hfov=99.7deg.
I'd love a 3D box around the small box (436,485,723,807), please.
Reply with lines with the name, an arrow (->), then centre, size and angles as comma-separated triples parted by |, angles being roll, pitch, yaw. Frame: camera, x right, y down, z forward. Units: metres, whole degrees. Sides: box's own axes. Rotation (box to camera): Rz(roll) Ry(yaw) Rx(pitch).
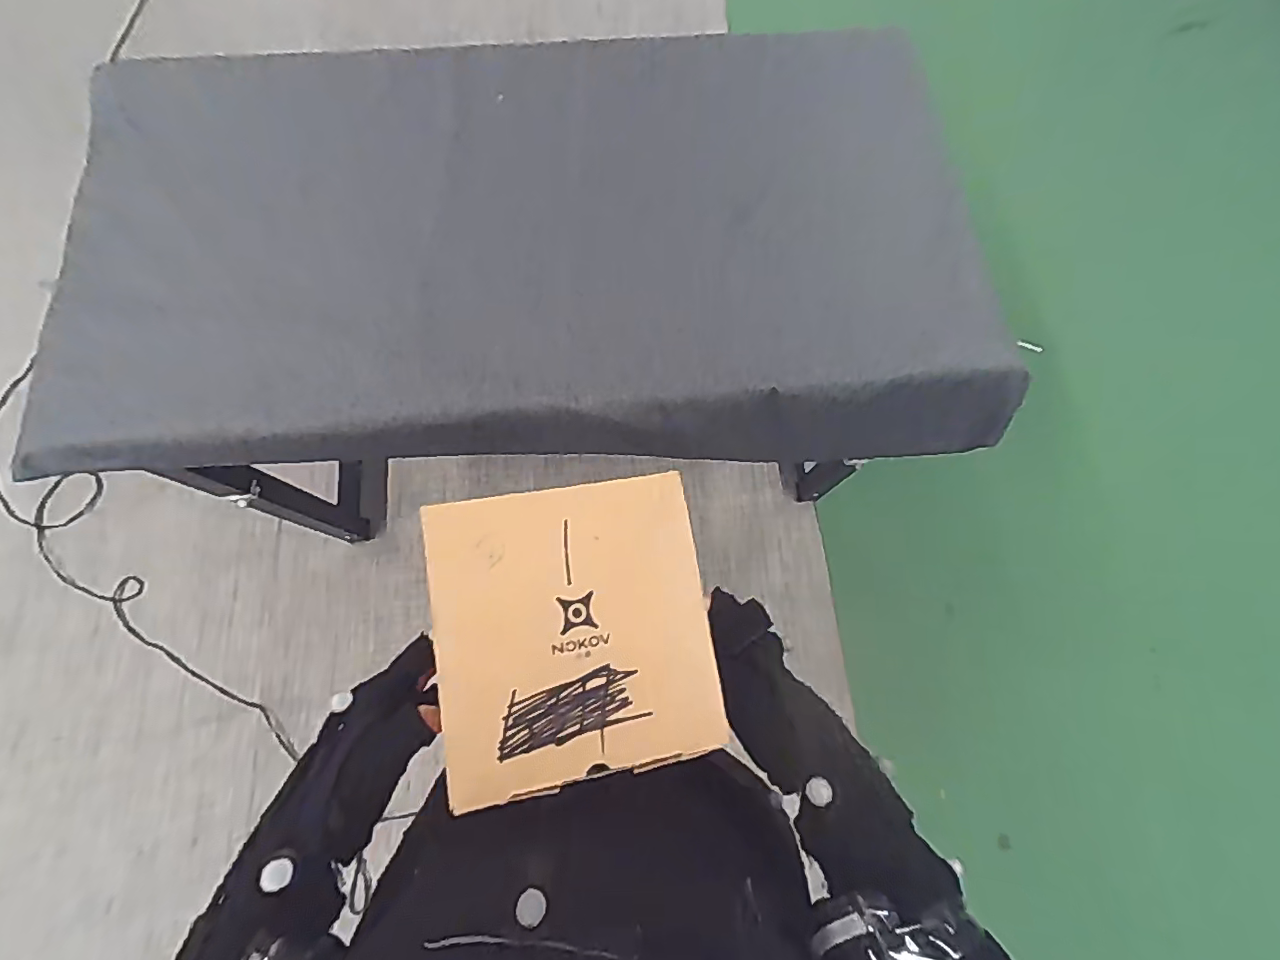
small box -> -0.051, 0.110, 0.414 | 0.168, 0.176, 0.179 | -6, 80, -12
